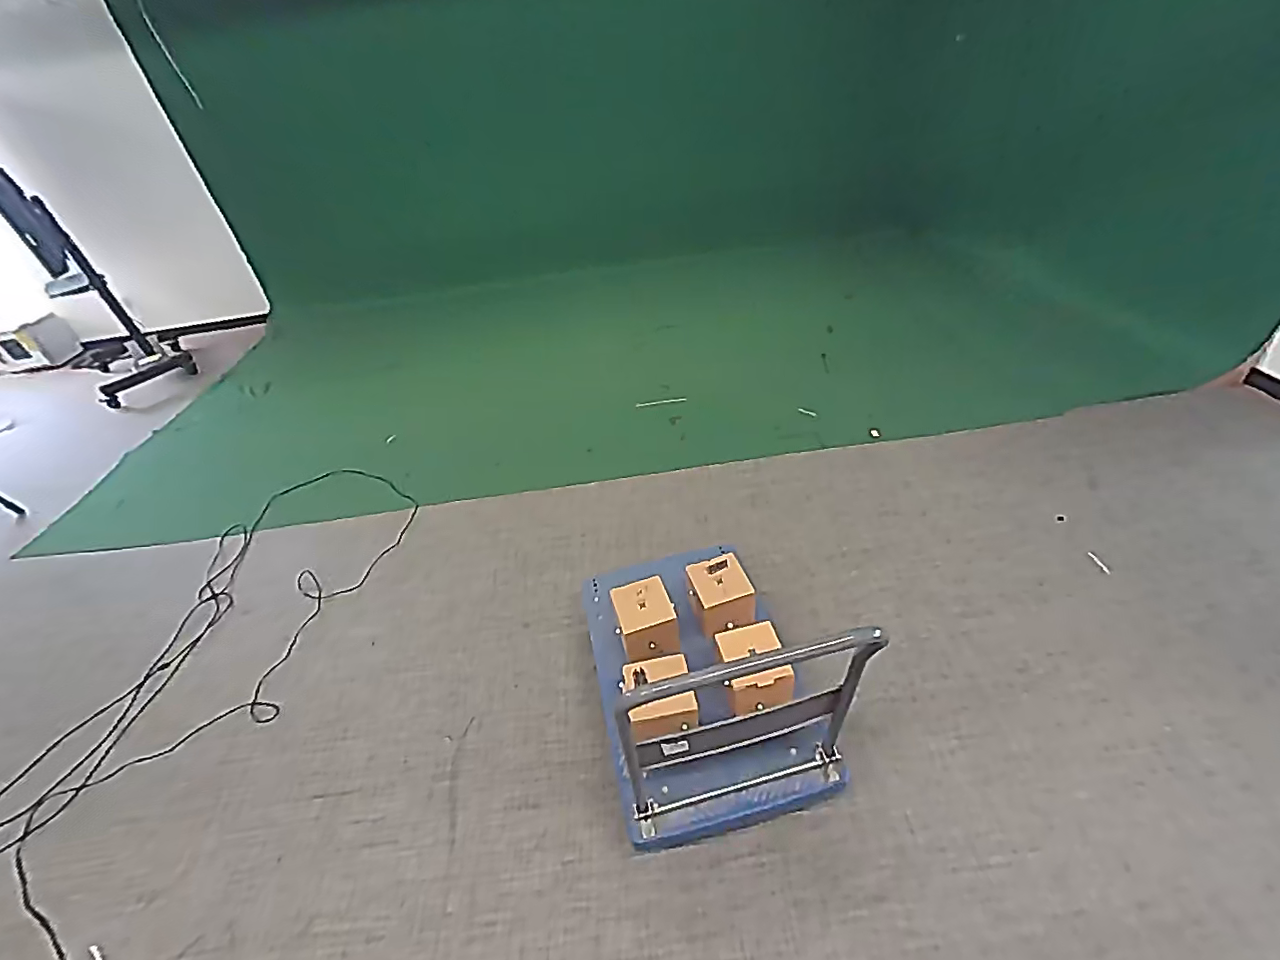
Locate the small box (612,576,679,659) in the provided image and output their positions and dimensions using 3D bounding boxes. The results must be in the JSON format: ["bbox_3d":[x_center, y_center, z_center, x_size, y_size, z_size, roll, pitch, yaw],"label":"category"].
[{"bbox_3d":[0.019,0.440,1.702,0.168,0.176,0.179,-15,40,-9],"label":"small box"}]

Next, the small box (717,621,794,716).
[{"bbox_3d":[0.320,0.535,1.535,0.168,0.176,0.179,-13,40,-5],"label":"small box"}]

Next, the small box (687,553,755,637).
[{"bbox_3d":[0.258,0.371,1.741,0.168,0.176,0.179,-16,41,-8],"label":"small box"}]
